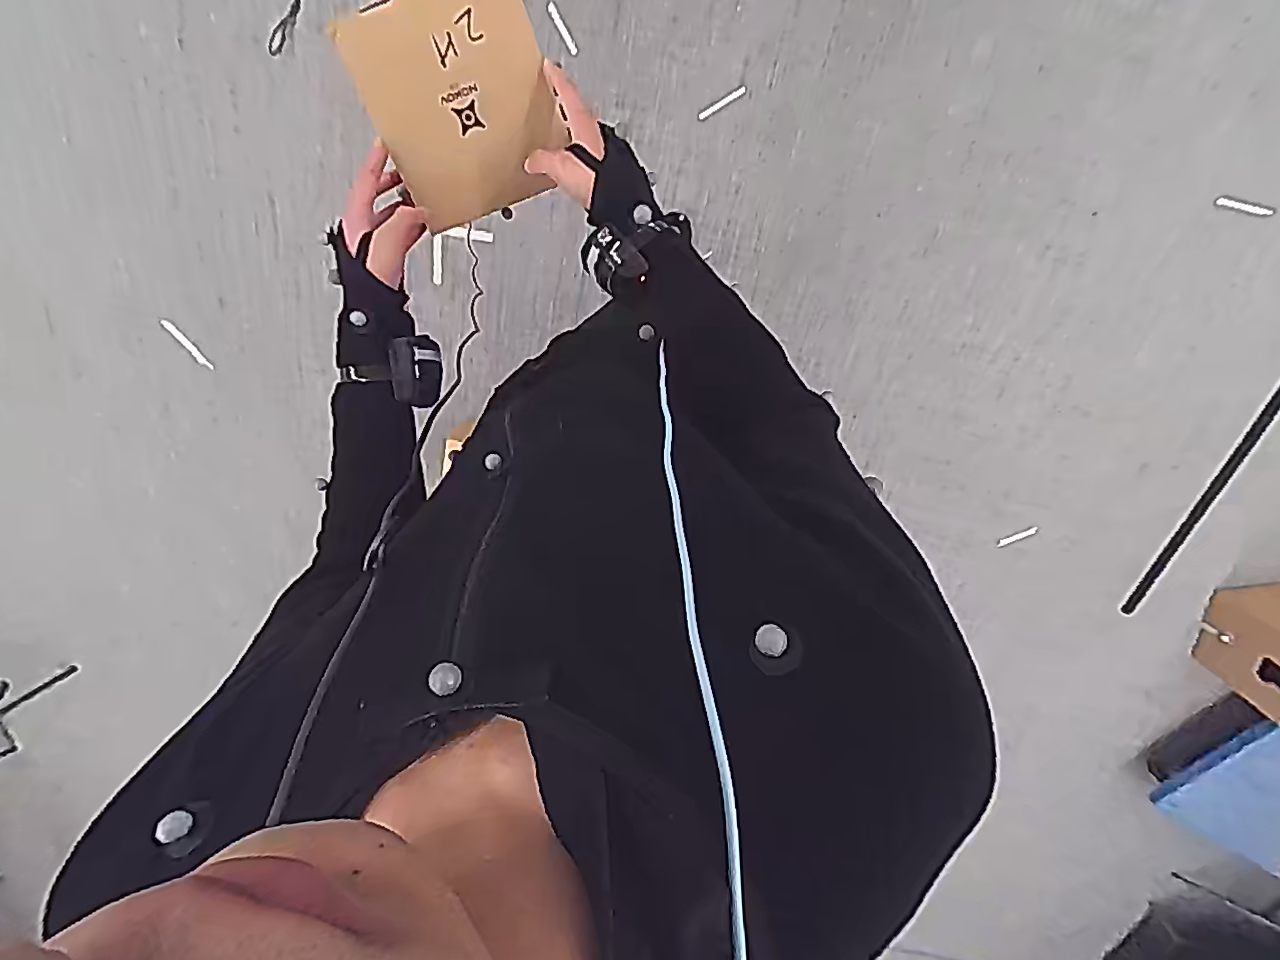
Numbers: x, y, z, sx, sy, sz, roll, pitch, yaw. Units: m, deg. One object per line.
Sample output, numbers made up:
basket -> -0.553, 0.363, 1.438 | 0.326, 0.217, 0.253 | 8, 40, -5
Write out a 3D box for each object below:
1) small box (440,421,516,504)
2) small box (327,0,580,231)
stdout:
small box -> -0.470, -0.057, 1.587 | 0.168, 0.176, 0.179 | 14, 115, -5
small box -> -0.173, -0.382, 0.557 | 0.168, 0.176, 0.179 | -21, 122, -1
